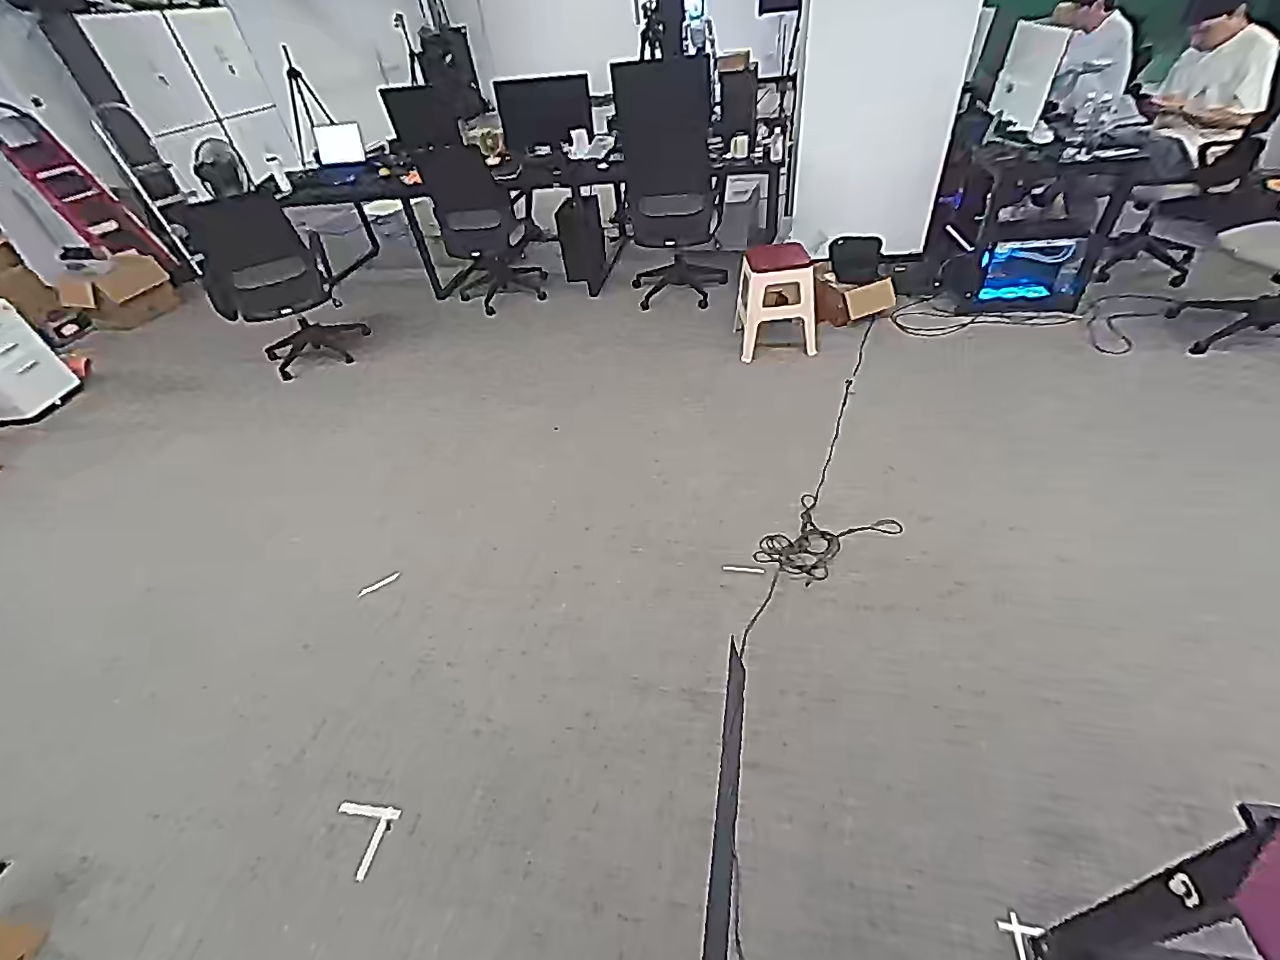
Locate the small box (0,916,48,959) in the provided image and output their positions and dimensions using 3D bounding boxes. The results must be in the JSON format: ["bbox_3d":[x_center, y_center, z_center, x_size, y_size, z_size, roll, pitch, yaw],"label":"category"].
[{"bbox_3d":[-1.509,1.072,1.199,0.179,0.176,0.168,0,42,11],"label":"small box"}]
